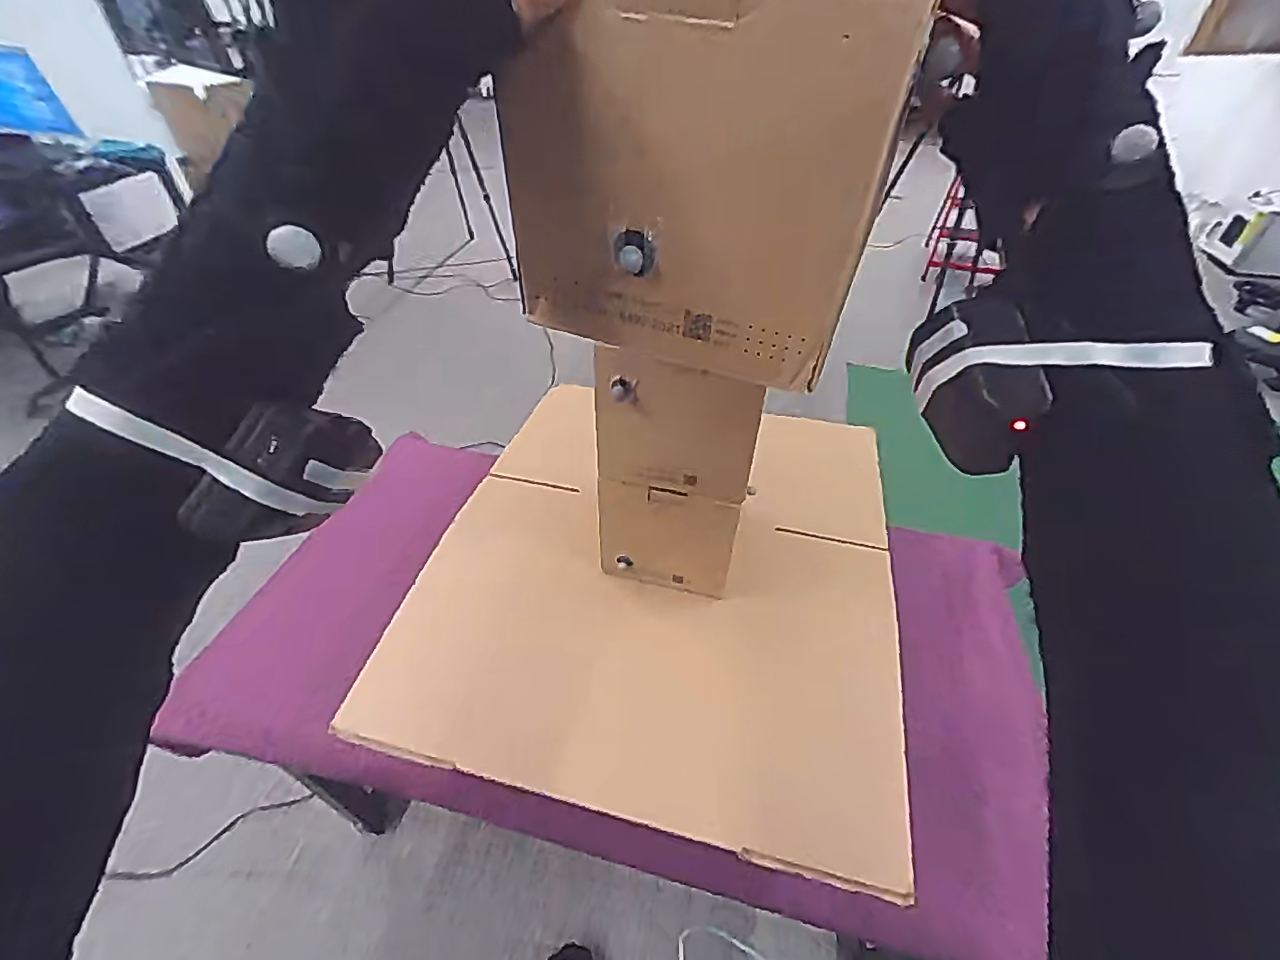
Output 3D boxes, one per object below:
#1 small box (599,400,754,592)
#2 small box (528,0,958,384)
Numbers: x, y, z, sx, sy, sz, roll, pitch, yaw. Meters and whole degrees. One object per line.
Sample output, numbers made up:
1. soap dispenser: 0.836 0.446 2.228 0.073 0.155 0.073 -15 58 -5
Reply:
1. small box: 0.050 0.021 0.706 0.168 0.176 0.179 9 44 8
2. small box: 0.054 -0.182 0.291 0.168 0.176 0.179 19 49 15
